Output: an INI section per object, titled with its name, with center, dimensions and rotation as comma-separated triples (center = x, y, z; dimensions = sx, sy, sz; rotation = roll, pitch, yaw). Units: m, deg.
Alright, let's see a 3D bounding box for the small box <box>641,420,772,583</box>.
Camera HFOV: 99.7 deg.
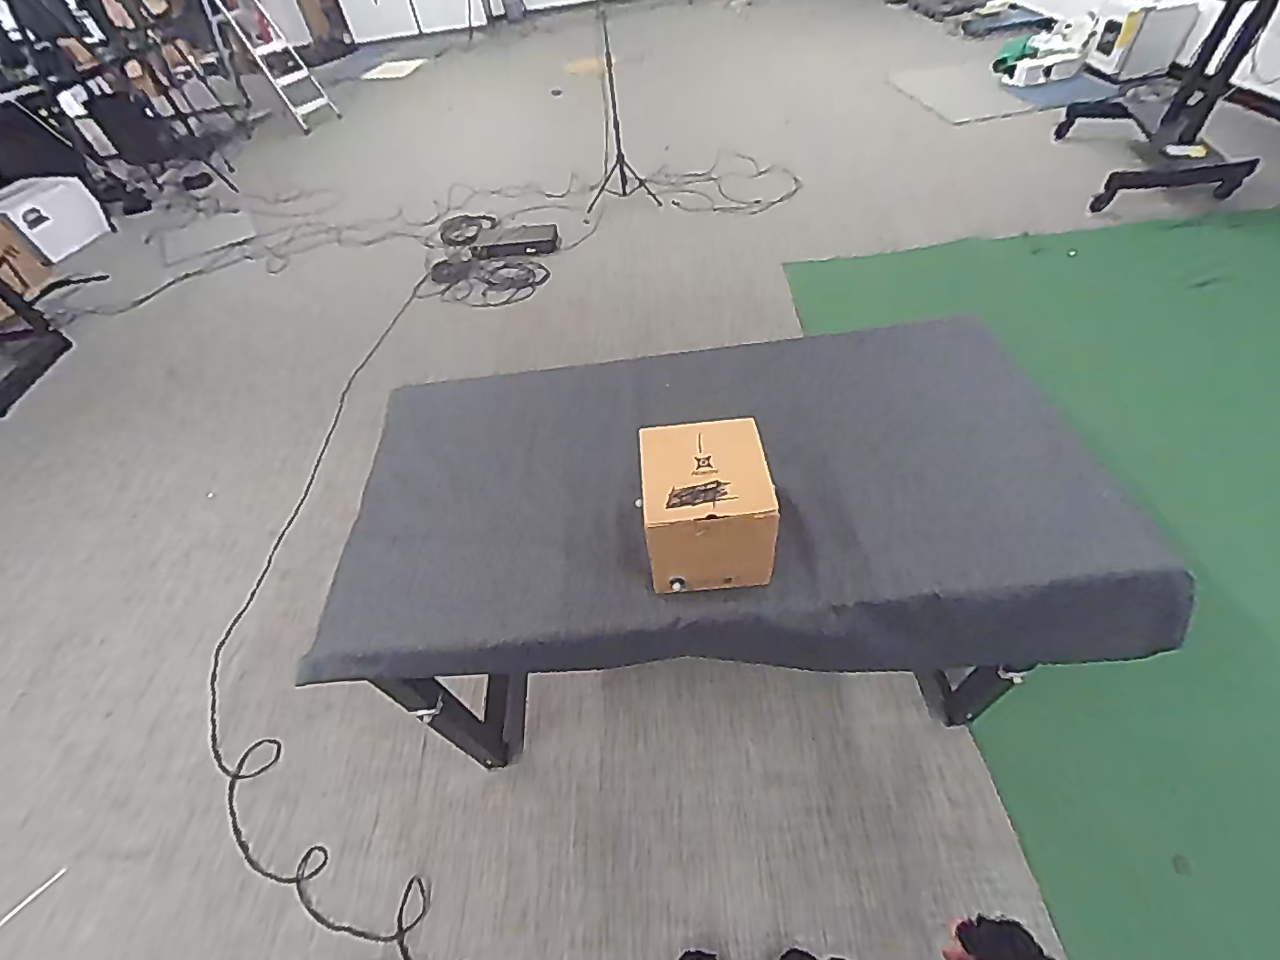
[small box]
center = 0.093, 0.038, 0.790
dimensions = 0.168, 0.176, 0.179
rotation = -5, 47, 3
